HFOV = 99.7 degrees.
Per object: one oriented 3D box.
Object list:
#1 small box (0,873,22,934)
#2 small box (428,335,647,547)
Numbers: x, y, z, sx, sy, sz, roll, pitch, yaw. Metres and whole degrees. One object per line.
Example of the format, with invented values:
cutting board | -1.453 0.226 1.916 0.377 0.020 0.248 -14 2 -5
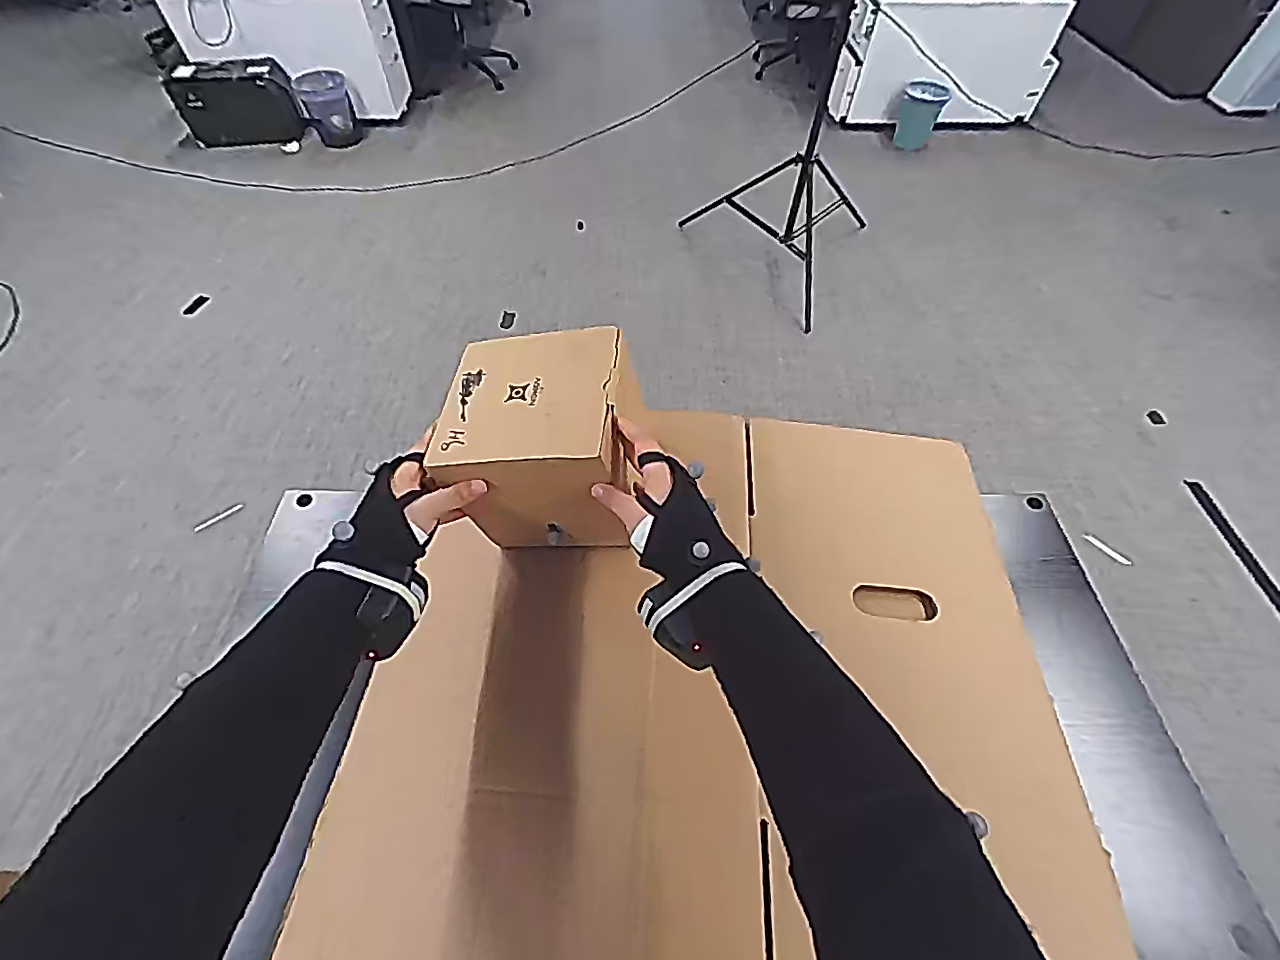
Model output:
small box | -1.225 0.776 0.904 0.168 0.176 0.179 -5 54 -5
small box | -0.093 -0.035 0.597 0.179 0.176 0.168 -2 55 12
